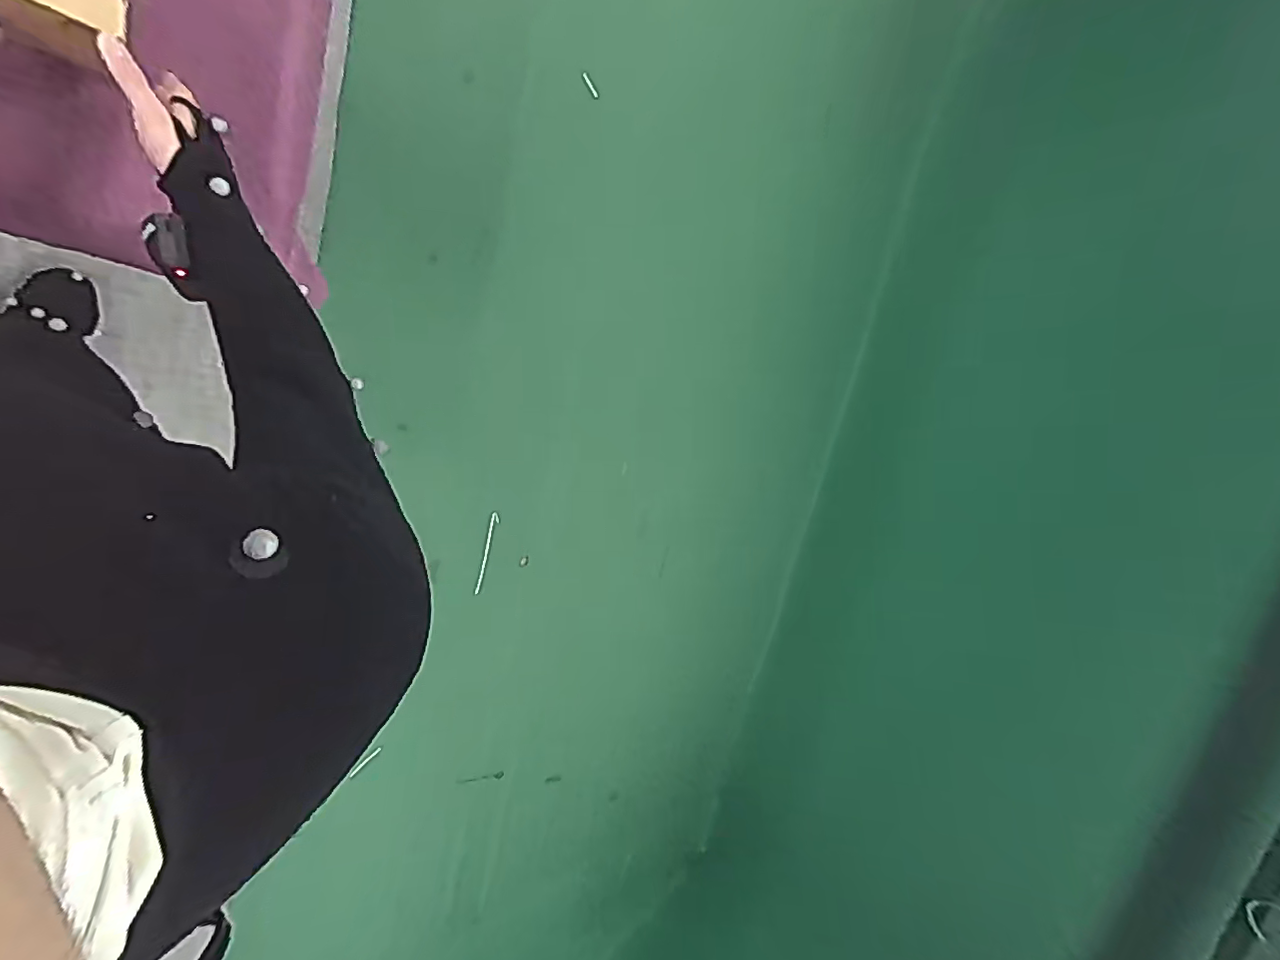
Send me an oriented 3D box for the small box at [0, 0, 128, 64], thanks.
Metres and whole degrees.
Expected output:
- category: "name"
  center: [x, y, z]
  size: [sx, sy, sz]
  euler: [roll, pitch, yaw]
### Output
- category: "small box"
  center: [-0.554, -0.491, 0.454]
  size: [0.179, 0.176, 0.168]
  euler: [2, 105, -47]
